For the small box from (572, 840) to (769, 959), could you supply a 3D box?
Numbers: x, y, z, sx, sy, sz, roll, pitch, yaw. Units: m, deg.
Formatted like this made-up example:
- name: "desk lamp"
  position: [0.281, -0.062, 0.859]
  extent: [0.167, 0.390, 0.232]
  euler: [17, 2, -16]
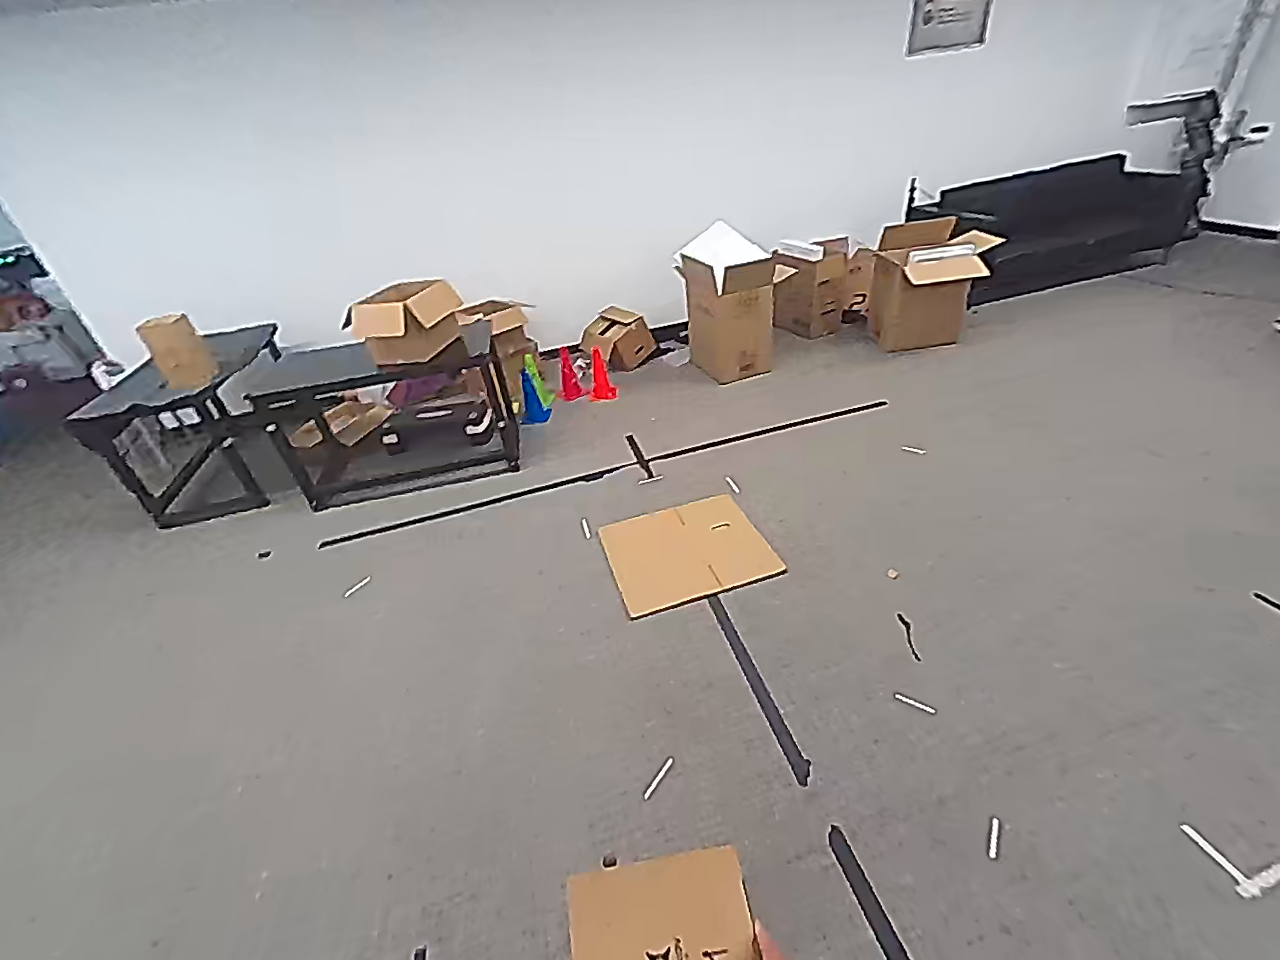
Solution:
- name: "small box"
  position: [0.027, 0.491, 0.549]
  extent: [0.179, 0.176, 0.168]
  euler: [-4, 47, -9]
